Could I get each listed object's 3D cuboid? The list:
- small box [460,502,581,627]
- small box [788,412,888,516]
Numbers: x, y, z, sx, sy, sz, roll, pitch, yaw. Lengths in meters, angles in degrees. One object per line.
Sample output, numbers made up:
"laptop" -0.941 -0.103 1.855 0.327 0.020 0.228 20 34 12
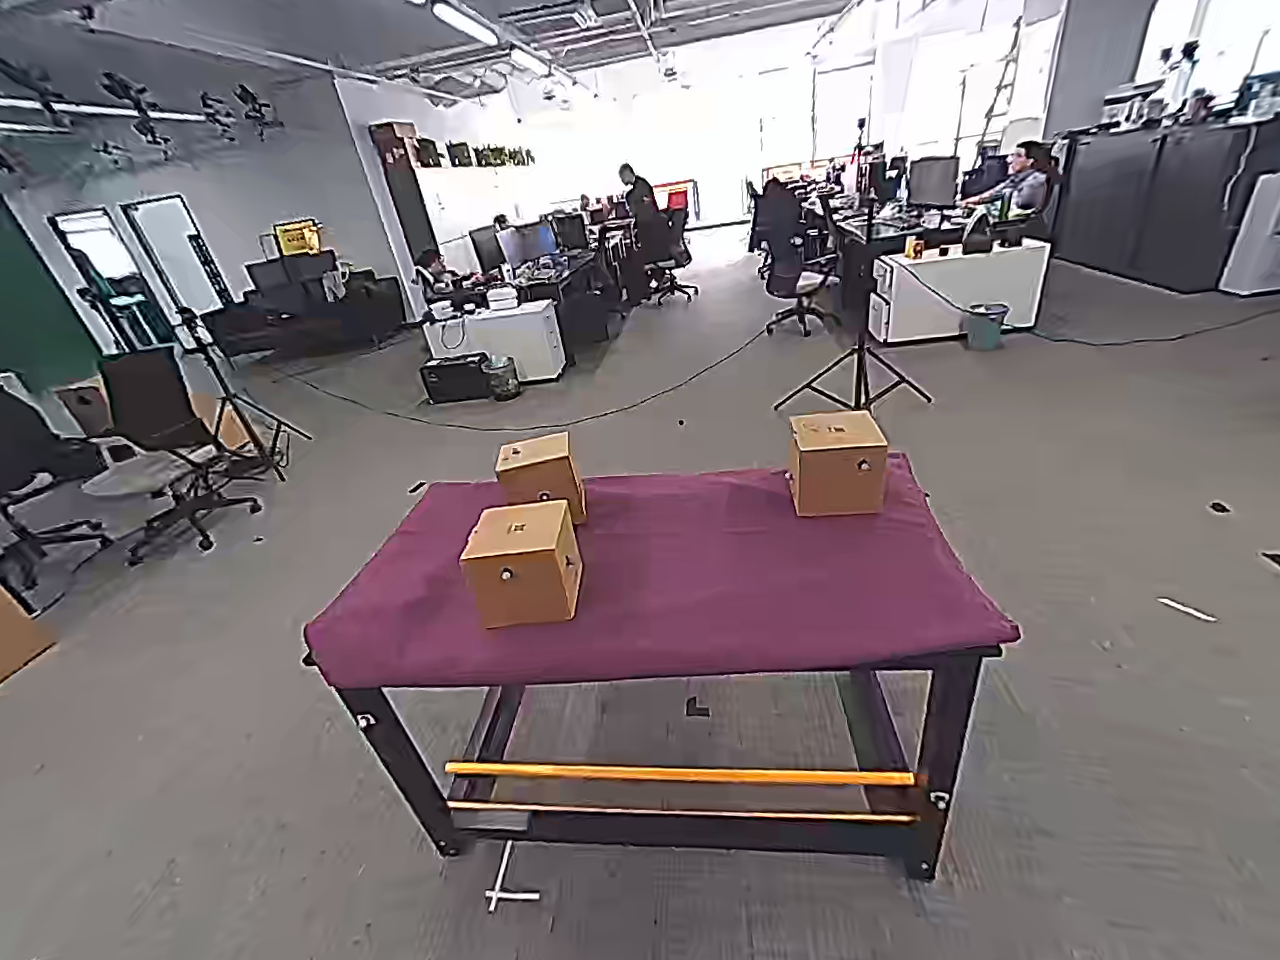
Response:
"small box" -0.218 0.163 1.046 0.179 0.176 0.168 -7 29 5
"small box" 0.426 -0.035 1.192 0.179 0.176 0.168 -4 31 9
